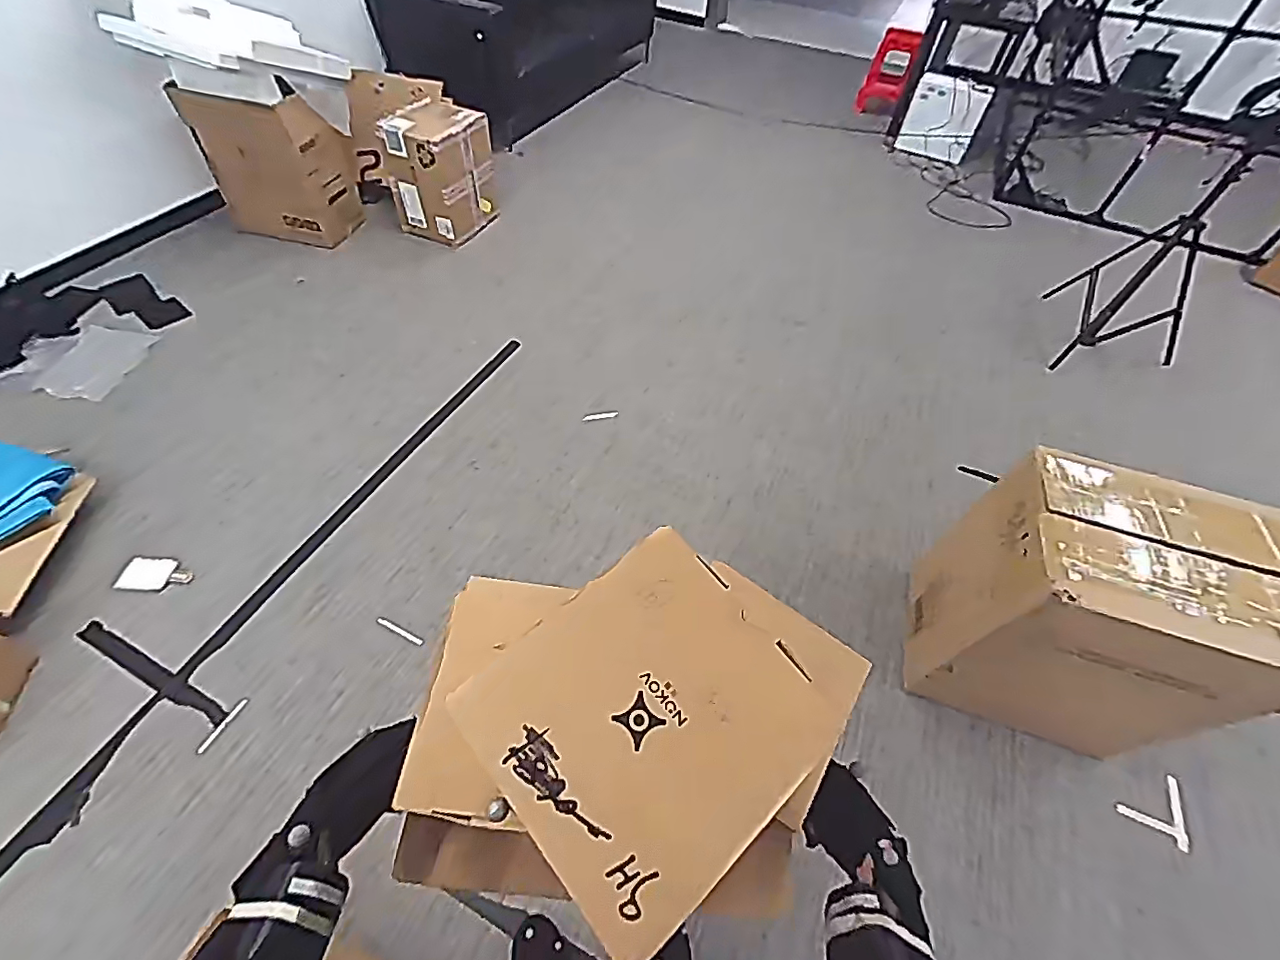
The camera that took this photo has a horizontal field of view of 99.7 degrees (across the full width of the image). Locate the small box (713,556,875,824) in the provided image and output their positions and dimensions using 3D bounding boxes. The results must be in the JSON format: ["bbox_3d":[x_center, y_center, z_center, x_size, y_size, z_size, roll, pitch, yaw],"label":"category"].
[{"bbox_3d":[0.093,0.214,0.547,0.179,0.176,0.168,34,61,12],"label":"small box"}]

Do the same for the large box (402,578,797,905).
[{"bbox_3d":[-0.046,0.350,0.736,0.408,0.320,0.320,8,60,-4],"label":"large box"}]

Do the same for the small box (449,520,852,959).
[{"bbox_3d":[0.000,0.164,0.375,0.179,0.176,0.168,-36,71,-22],"label":"small box"}]
